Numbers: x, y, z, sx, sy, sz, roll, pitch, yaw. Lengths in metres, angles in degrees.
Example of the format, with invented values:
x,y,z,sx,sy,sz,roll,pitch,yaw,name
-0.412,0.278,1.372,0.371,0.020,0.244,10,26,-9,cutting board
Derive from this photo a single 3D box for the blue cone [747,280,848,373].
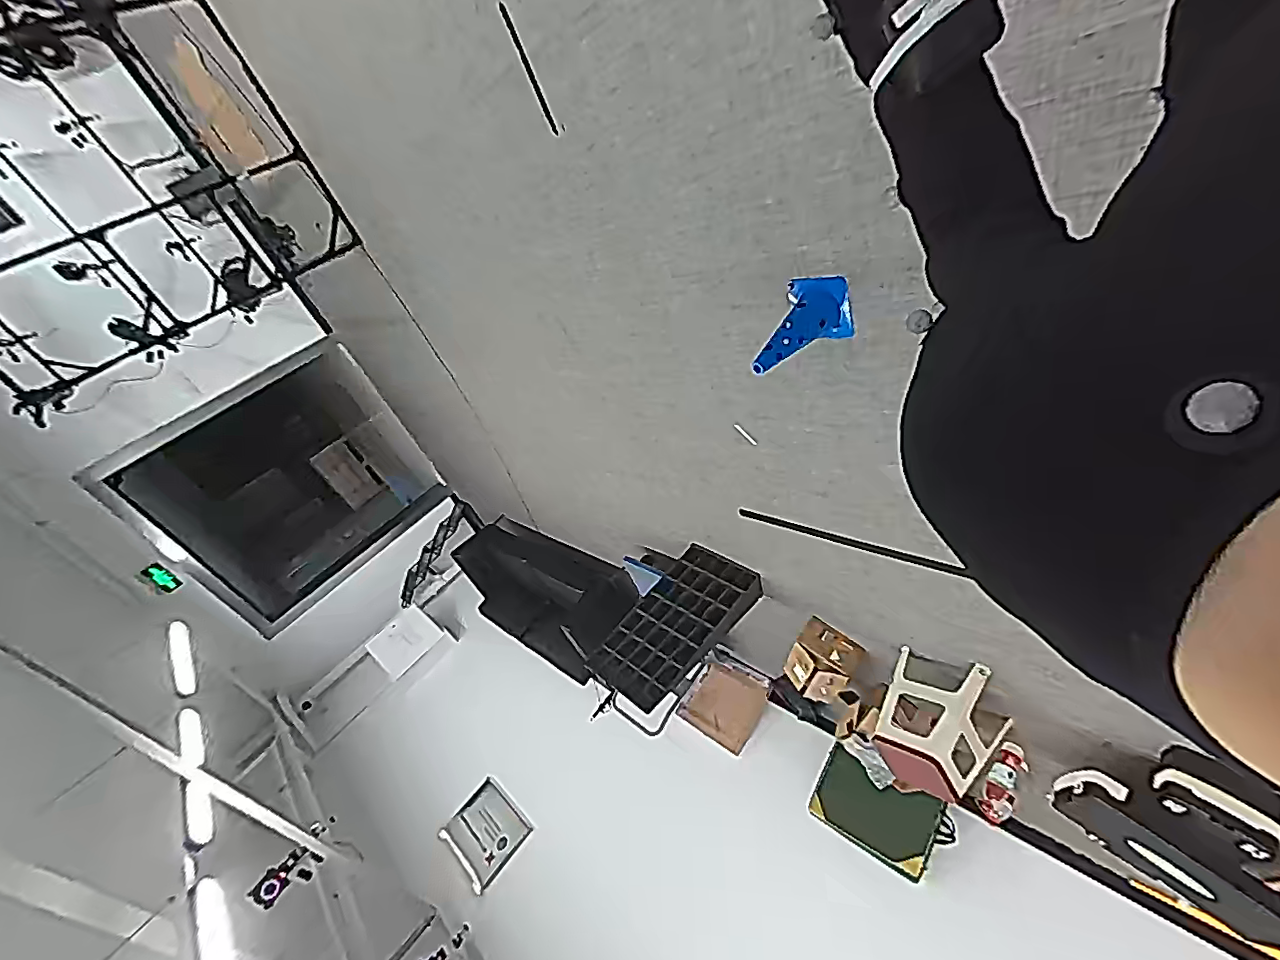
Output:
x,y,z,sx,sy,sz,roll,pitch,yaw,name
0.453,-0.437,1.630,0.192,0.380,0.193,19,143,44,blue cone
